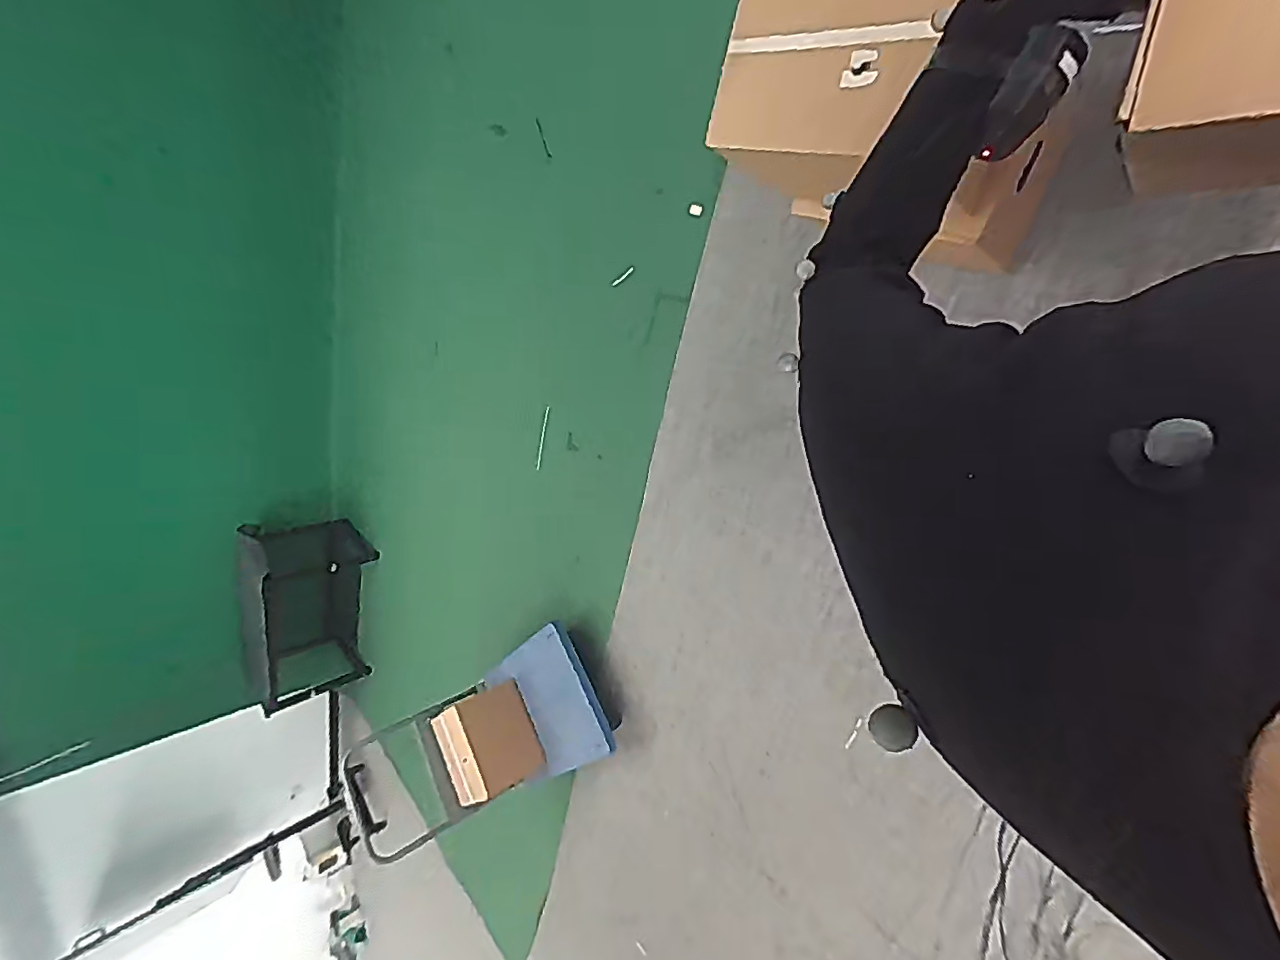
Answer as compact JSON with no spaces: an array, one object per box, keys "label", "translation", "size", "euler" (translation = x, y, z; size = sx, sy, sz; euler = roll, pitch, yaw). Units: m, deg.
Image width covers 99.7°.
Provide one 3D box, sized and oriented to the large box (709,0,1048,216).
[{"label":"large box","translation":[0.402,-0.688,0.944],"size":[0.408,0.320,0.320],"euler":[31,113,35]}]
